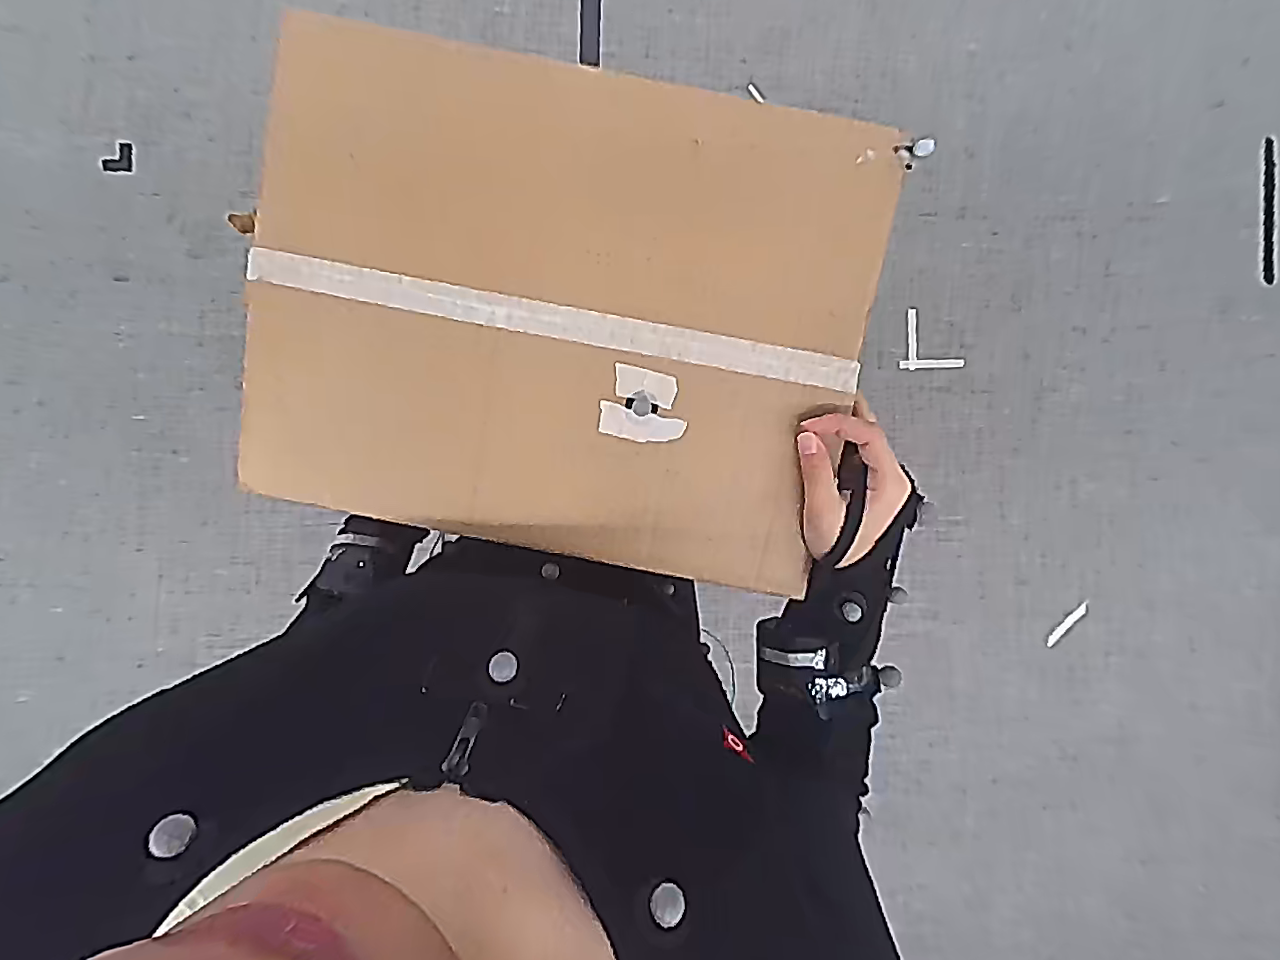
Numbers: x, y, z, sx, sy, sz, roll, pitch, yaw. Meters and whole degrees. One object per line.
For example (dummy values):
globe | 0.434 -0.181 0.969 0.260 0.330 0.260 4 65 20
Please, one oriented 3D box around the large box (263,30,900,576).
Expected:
large box | -0.050 -0.129 0.516 0.408 0.320 0.320 10 98 -1
